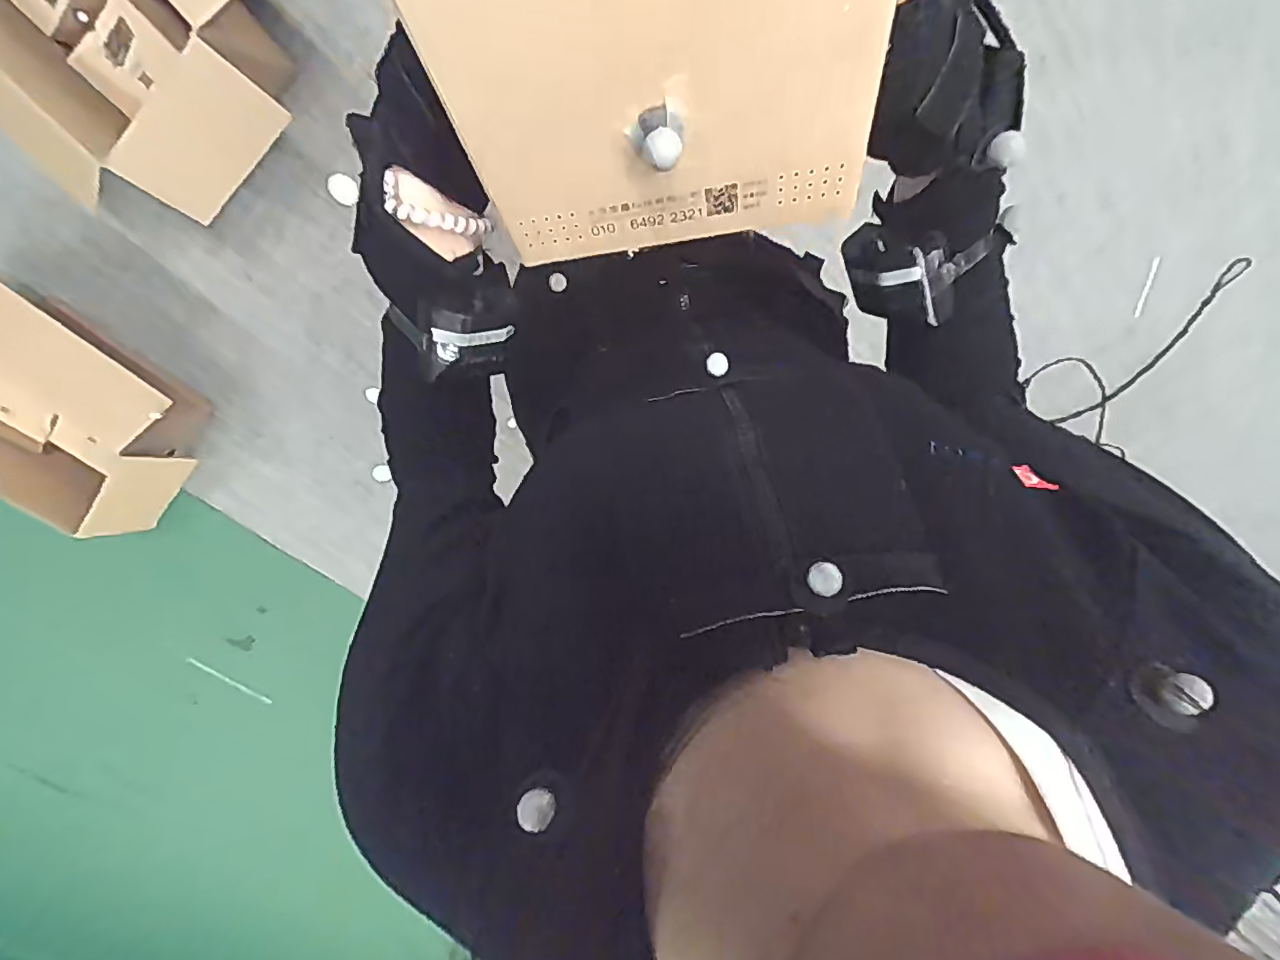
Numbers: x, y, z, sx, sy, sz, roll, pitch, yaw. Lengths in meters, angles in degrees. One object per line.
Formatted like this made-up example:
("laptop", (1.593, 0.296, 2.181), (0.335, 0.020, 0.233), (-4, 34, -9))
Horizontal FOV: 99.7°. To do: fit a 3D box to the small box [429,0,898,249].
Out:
("small box", (0.006, -0.232, 0.226), (0.168, 0.179, 0.176), (-5, 155, 10))
